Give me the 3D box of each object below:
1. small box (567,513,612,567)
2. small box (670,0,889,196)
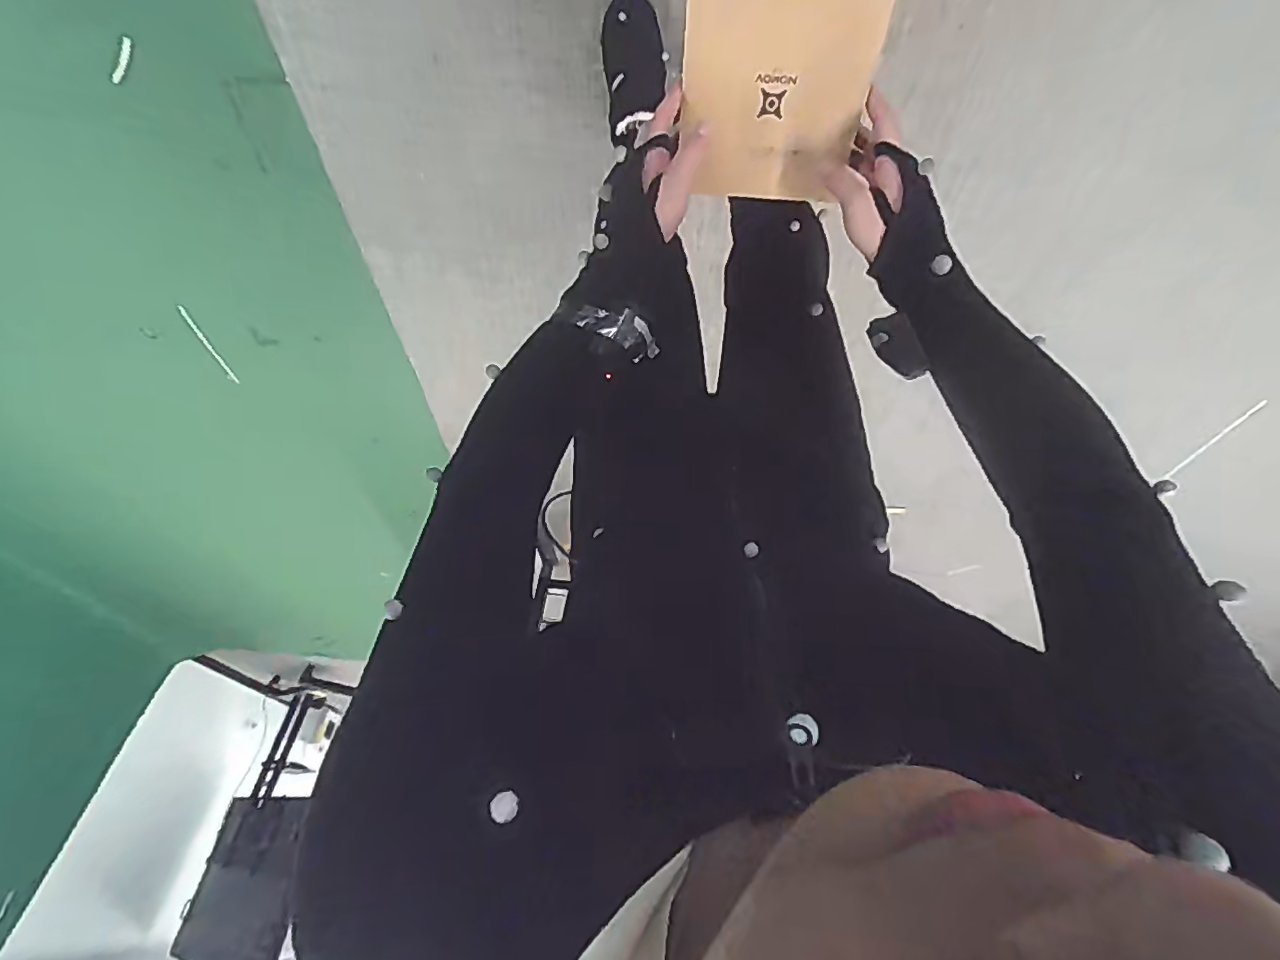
[{"bbox_3d":[-0.212,0.255,2.320,0.179,0.176,0.168,5,143,1],"label":"small box"},{"bbox_3d":[0.124,-0.409,0.526,0.168,0.176,0.179,7,142,4],"label":"small box"}]
